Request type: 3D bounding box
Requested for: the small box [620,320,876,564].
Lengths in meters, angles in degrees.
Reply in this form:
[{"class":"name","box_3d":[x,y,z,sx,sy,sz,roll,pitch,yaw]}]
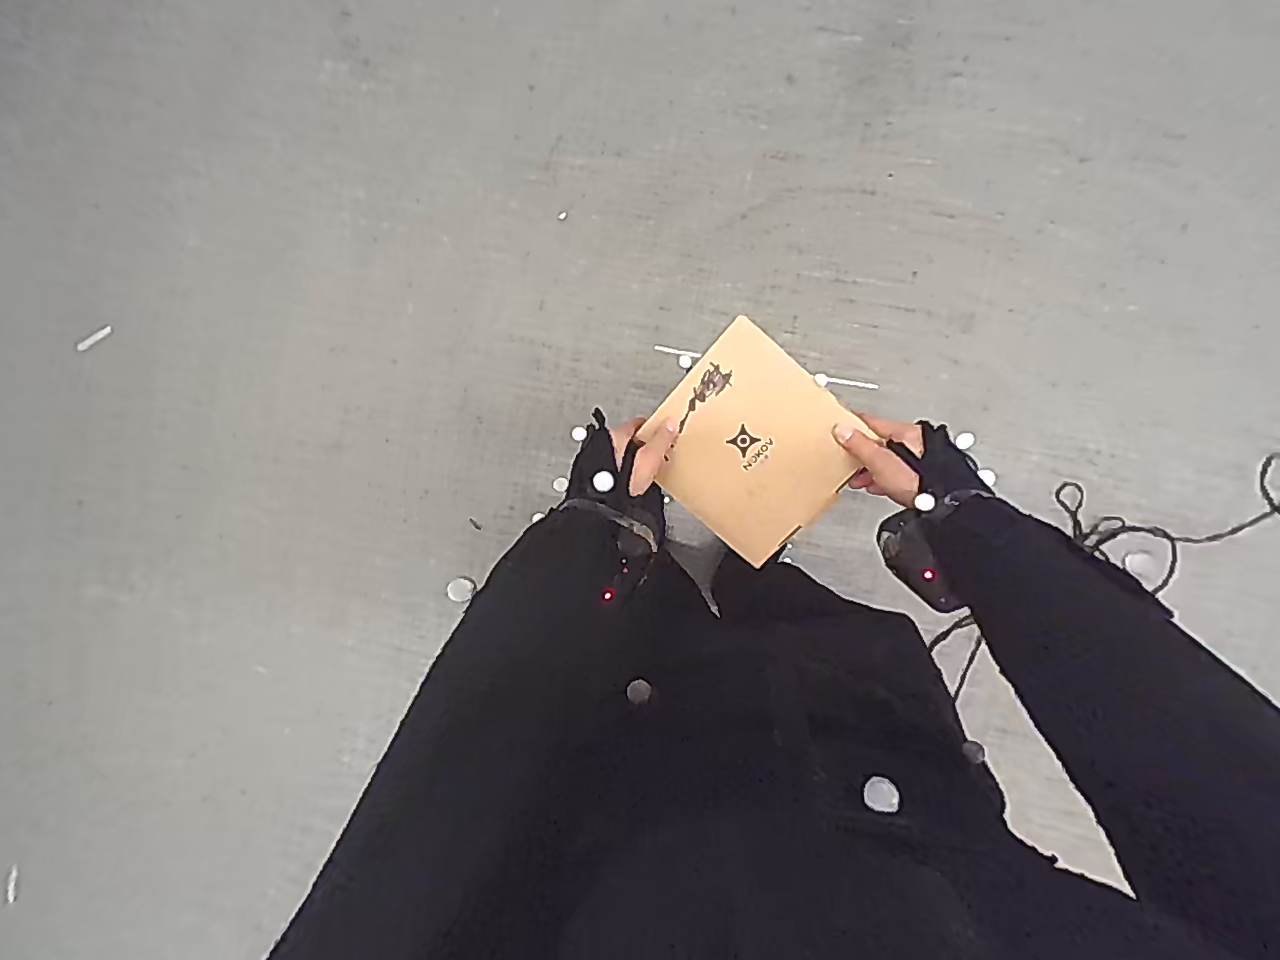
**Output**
[{"class":"small box","box_3d":[0.106,-0.050,0.572,0.179,0.176,0.168,41,105,-4]}]
